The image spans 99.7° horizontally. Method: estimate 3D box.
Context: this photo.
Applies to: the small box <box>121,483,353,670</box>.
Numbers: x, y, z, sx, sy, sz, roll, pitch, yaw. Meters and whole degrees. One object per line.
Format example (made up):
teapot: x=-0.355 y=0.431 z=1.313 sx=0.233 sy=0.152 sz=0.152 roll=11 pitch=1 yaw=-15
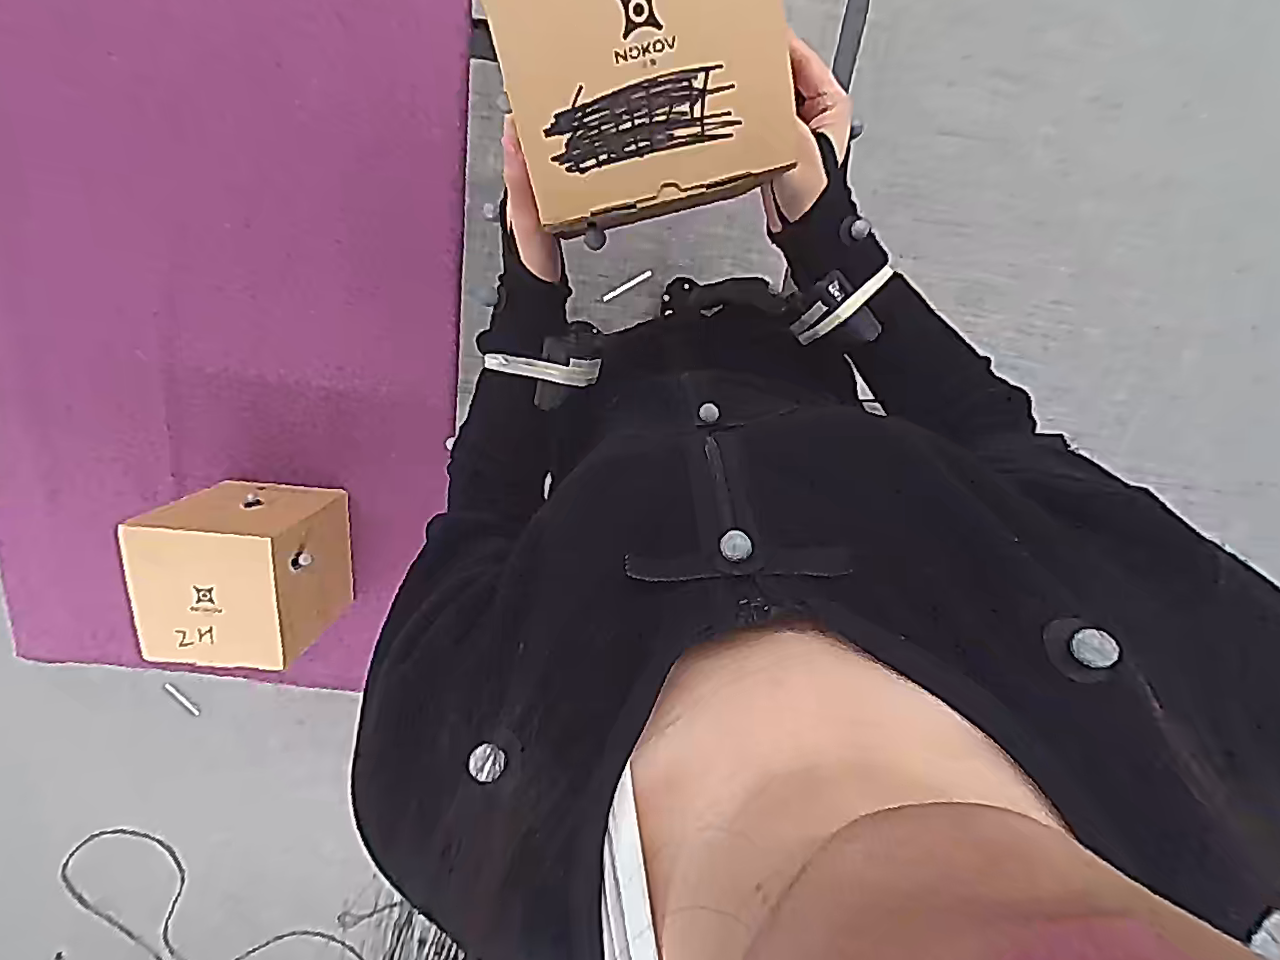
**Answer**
small box: x=-0.489 y=0.112 z=0.687 sx=0.168 sy=0.176 sz=0.179 roll=5 pitch=107 yaw=-2
